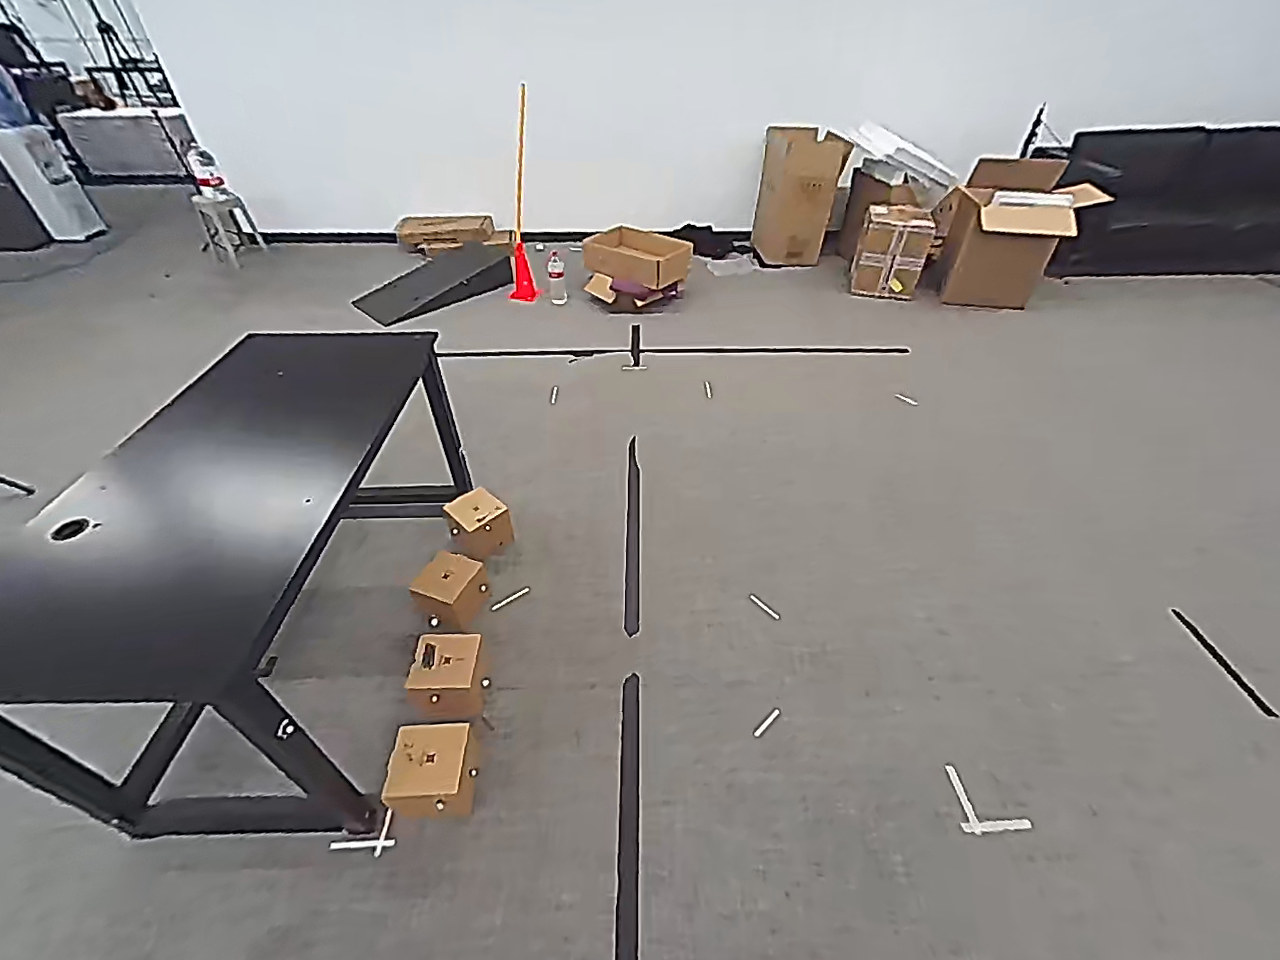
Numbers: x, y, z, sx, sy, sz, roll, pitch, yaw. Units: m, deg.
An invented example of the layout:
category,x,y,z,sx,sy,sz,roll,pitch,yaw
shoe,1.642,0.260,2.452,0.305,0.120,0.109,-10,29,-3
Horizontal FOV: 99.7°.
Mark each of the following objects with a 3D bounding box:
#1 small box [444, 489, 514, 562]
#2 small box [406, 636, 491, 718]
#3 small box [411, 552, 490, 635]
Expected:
category,x,y,z,sx,sy,sz,roll,pitch,yaw
small box,-0.590,0.169,1.993,0.179,0.176,0.168,31,51,31
small box,-0.539,0.565,1.547,0.179,0.176,0.168,0,42,-2
small box,-0.609,0.372,1.768,0.168,0.176,0.179,13,44,16
